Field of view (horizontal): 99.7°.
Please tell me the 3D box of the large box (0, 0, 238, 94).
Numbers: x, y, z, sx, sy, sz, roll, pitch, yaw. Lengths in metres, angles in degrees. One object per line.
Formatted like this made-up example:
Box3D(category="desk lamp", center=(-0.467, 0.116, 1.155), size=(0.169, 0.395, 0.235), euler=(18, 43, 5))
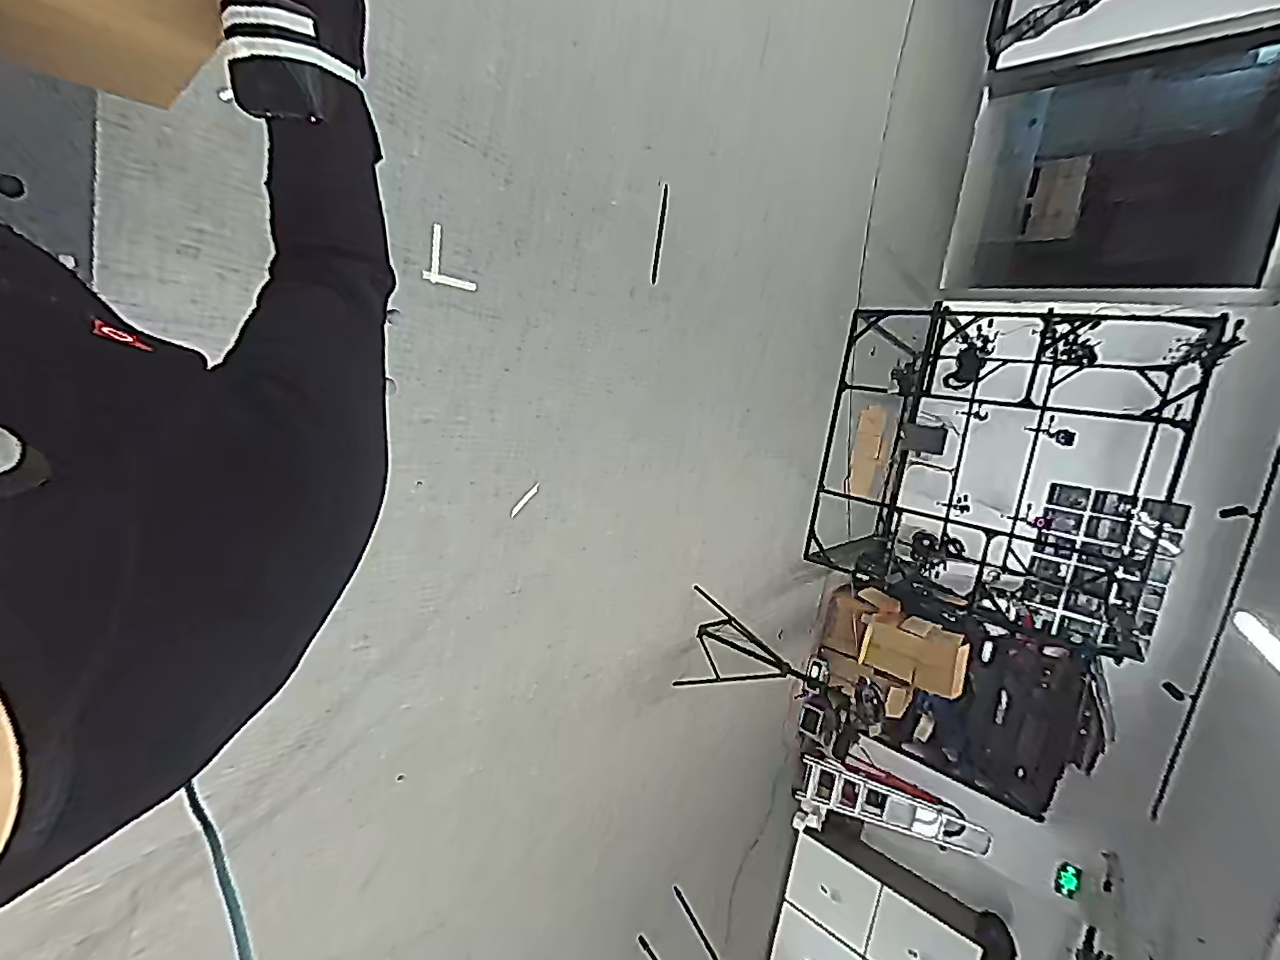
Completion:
Box3D(category="large box", center=(-0.469, -0.471, 0.257), size=(0.408, 0.320, 0.320), euler=(-10, 108, -50))
